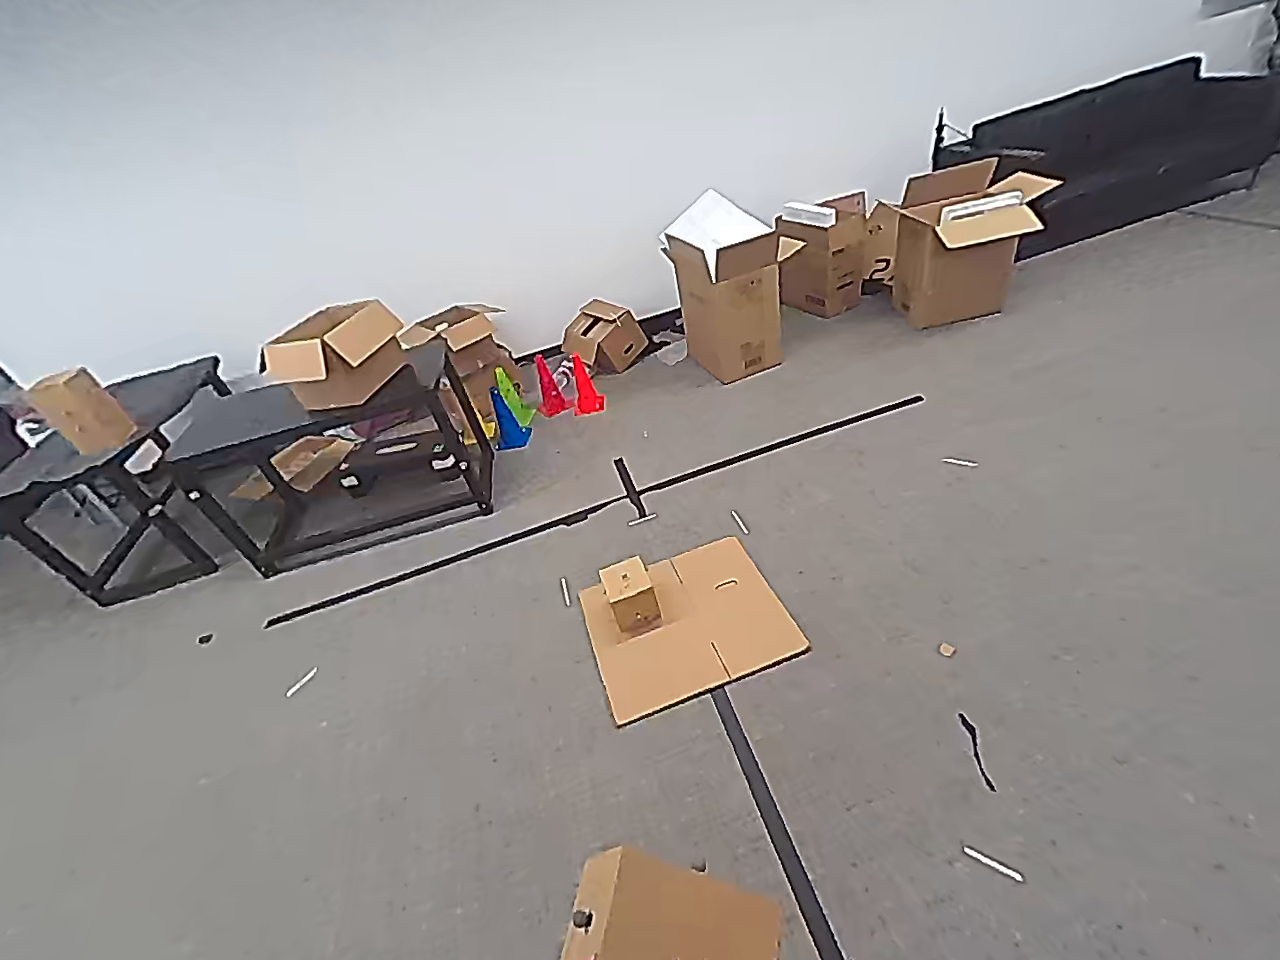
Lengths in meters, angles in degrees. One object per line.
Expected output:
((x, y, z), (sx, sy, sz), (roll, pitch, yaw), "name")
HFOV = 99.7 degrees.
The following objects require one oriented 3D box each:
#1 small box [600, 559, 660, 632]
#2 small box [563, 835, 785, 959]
((-0.036, 0.436, 2.032), (0.168, 0.176, 0.179), (-20, 37, -7), "small box")
((0.021, 0.486, 0.539), (0.179, 0.176, 0.168), (23, 48, -4), "small box")
